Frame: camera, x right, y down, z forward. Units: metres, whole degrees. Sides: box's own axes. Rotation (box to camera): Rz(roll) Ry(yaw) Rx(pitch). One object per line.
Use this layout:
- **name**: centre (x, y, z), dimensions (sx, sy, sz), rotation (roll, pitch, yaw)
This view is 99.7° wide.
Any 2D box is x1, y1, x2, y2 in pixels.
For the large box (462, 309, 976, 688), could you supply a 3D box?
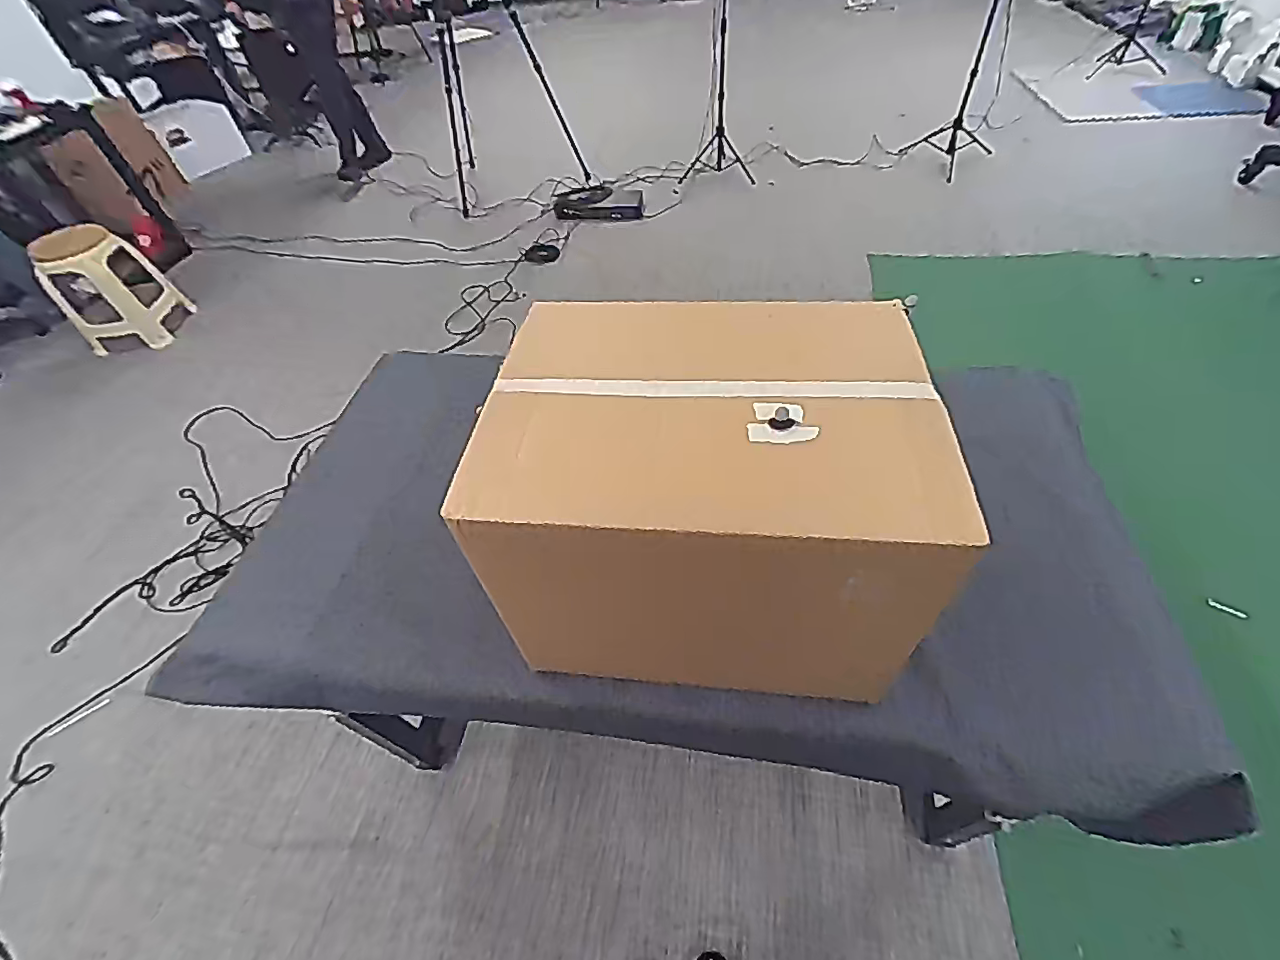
- **large box**: centre (0.072, 0.021, 0.621), dimensions (0.408, 0.320, 0.320), rotation (3, 50, 6)
